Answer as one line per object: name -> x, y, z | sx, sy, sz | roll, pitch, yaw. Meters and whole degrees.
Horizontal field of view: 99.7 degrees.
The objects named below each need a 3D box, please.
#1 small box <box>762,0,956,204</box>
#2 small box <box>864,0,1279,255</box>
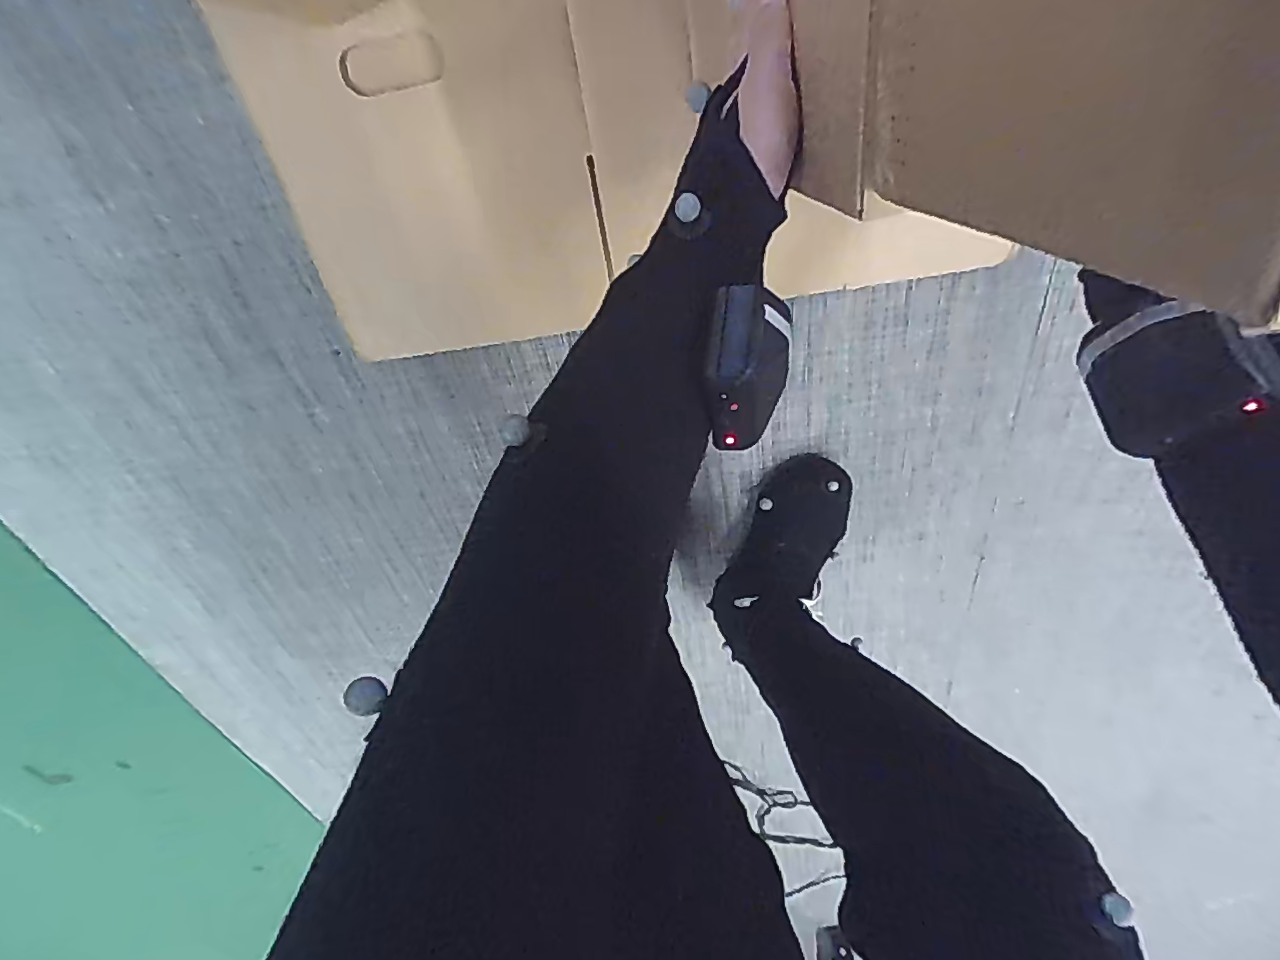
small box -> 0.149, -0.235, 0.228 | 0.168, 0.176, 0.179 | -8, 122, 6
small box -> 0.148, -0.152, 0.087 | 0.168, 0.176, 0.179 | -7, 123, 6
